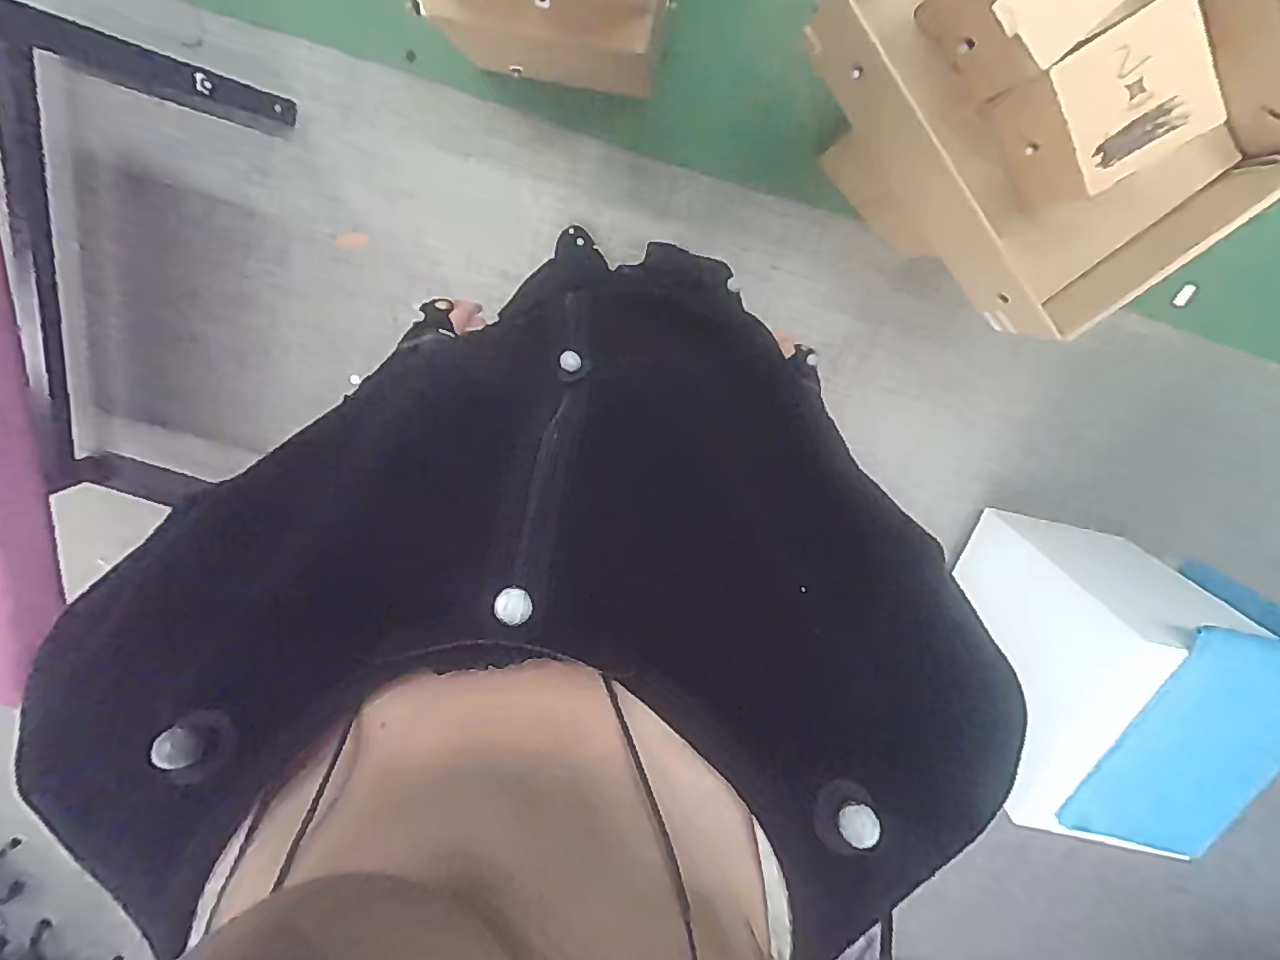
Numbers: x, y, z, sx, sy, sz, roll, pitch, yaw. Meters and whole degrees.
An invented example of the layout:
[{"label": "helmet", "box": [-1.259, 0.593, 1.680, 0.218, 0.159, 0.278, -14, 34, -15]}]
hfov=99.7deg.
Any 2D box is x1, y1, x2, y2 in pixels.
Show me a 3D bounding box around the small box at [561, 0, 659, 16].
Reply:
[{"label": "small box", "box": [-0.052, -0.829, 0.800, 0.179, 0.176, 0.168, 10, 113, 0]}]
